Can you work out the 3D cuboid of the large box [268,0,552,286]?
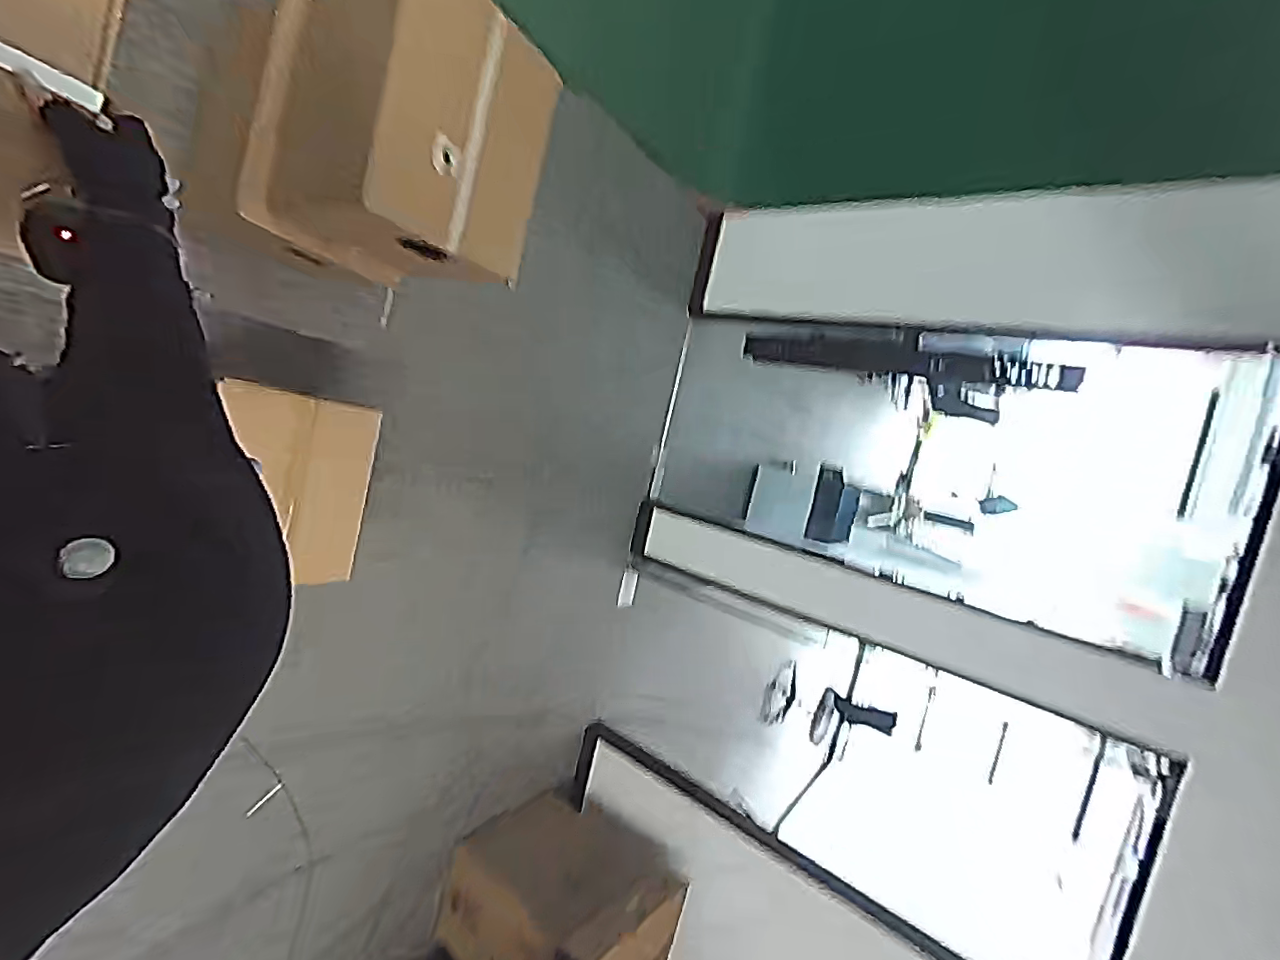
[{"bbox_3d":[-0.416,-0.622,0.997,0.320,0.320,0.408,9,97,-59],"label":"large box"}]
